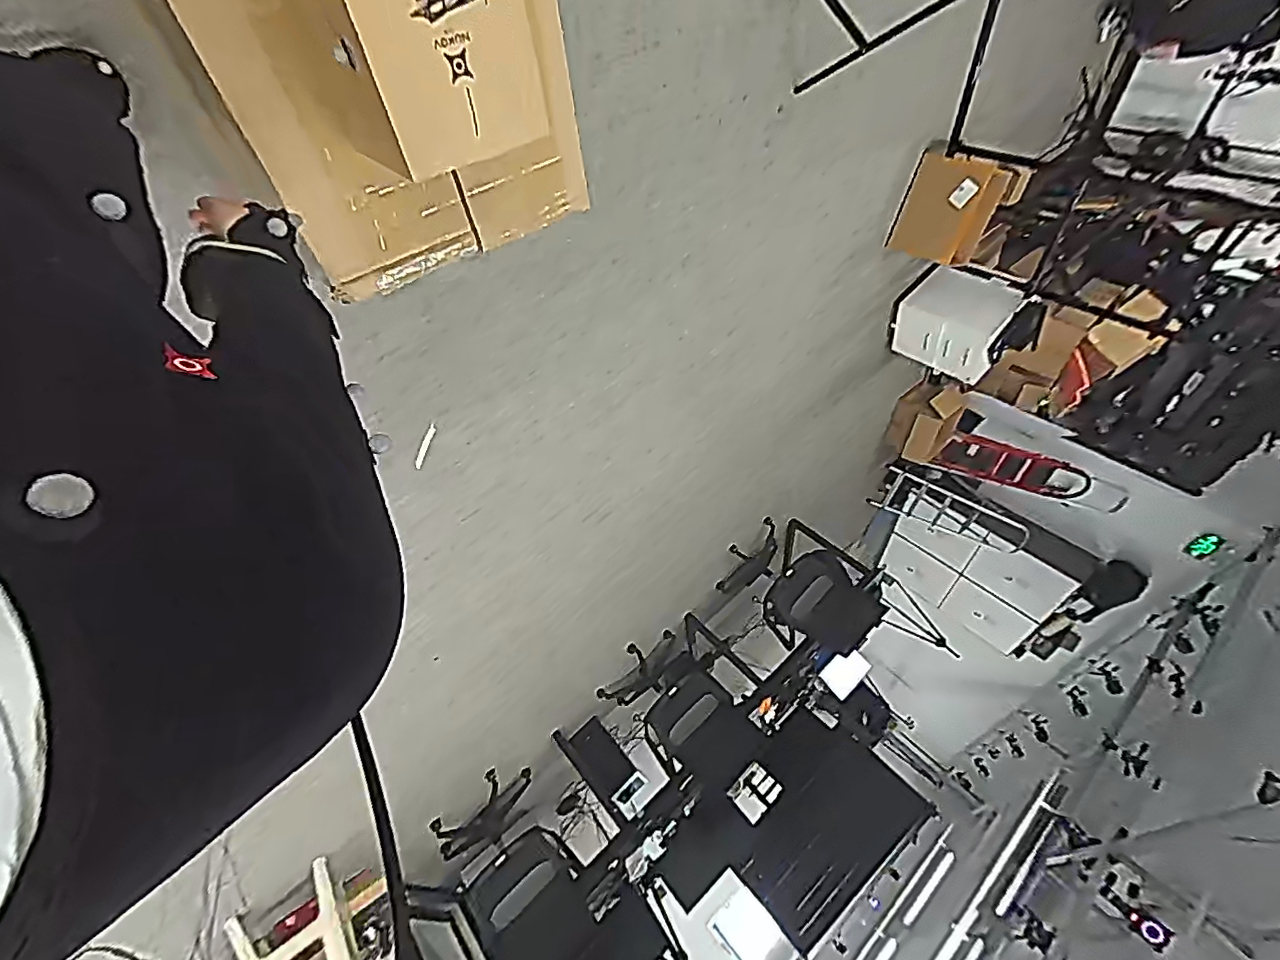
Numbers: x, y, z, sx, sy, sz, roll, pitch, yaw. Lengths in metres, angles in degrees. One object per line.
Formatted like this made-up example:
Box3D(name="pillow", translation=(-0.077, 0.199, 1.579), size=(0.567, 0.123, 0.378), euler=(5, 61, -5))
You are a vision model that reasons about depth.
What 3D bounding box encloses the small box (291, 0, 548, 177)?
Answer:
Box3D(name="small box", translation=(-0.221, -0.435, 0.538), size=(0.168, 0.176, 0.179), euler=(-35, 144, -22))
